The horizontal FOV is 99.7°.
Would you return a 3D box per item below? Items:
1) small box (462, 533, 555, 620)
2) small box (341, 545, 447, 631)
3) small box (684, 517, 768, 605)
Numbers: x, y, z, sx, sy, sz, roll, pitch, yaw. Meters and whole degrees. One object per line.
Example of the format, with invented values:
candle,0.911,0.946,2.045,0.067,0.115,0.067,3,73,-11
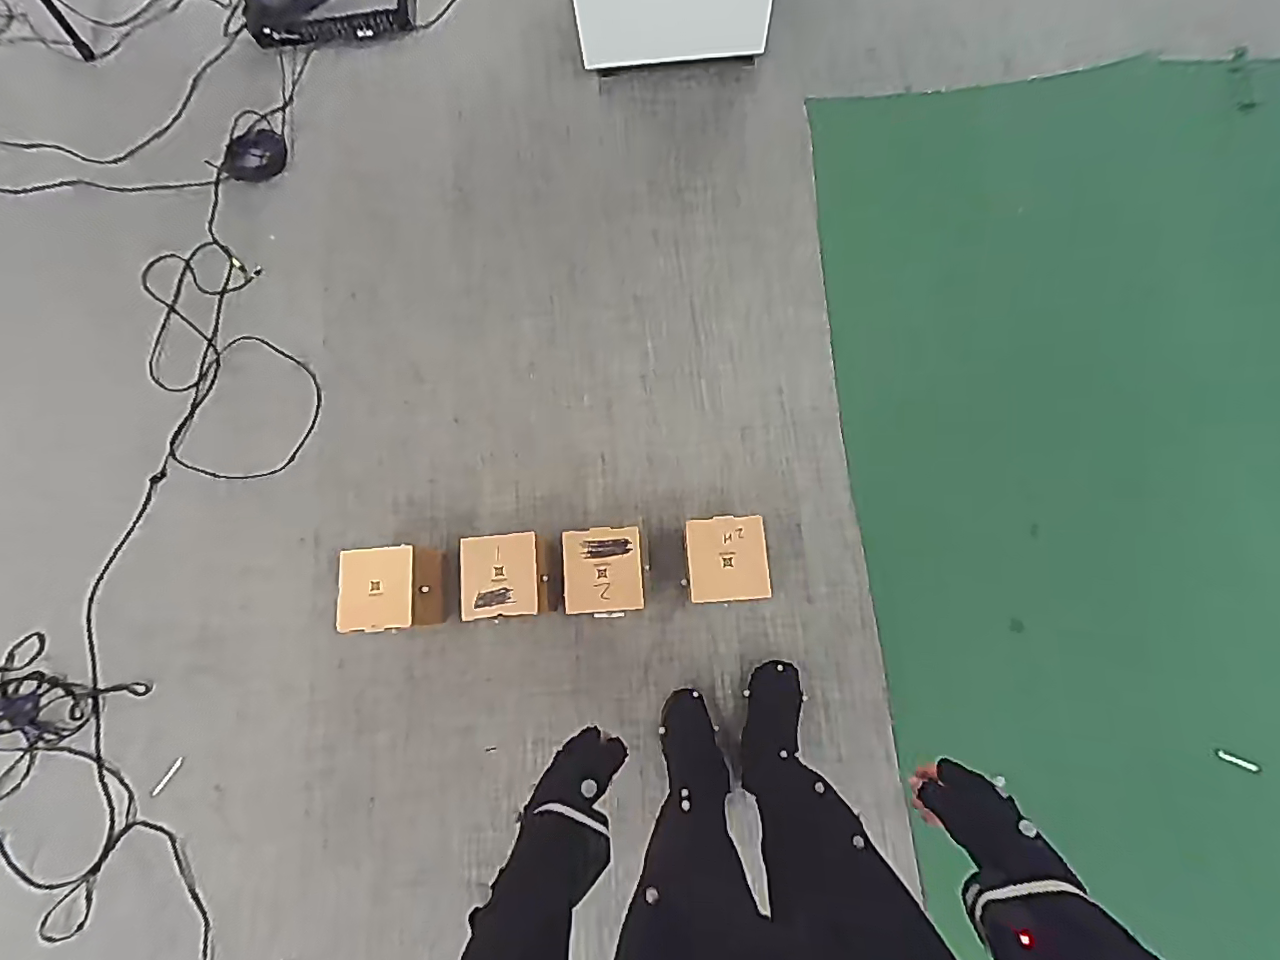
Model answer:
small box,-0.294,0.222,1.231,0.168,0.176,0.179,-6,76,4
small box,-0.558,0.251,1.248,0.168,0.176,0.179,-5,77,3
small box,0.185,0.184,1.208,0.168,0.176,0.179,-4,78,3
